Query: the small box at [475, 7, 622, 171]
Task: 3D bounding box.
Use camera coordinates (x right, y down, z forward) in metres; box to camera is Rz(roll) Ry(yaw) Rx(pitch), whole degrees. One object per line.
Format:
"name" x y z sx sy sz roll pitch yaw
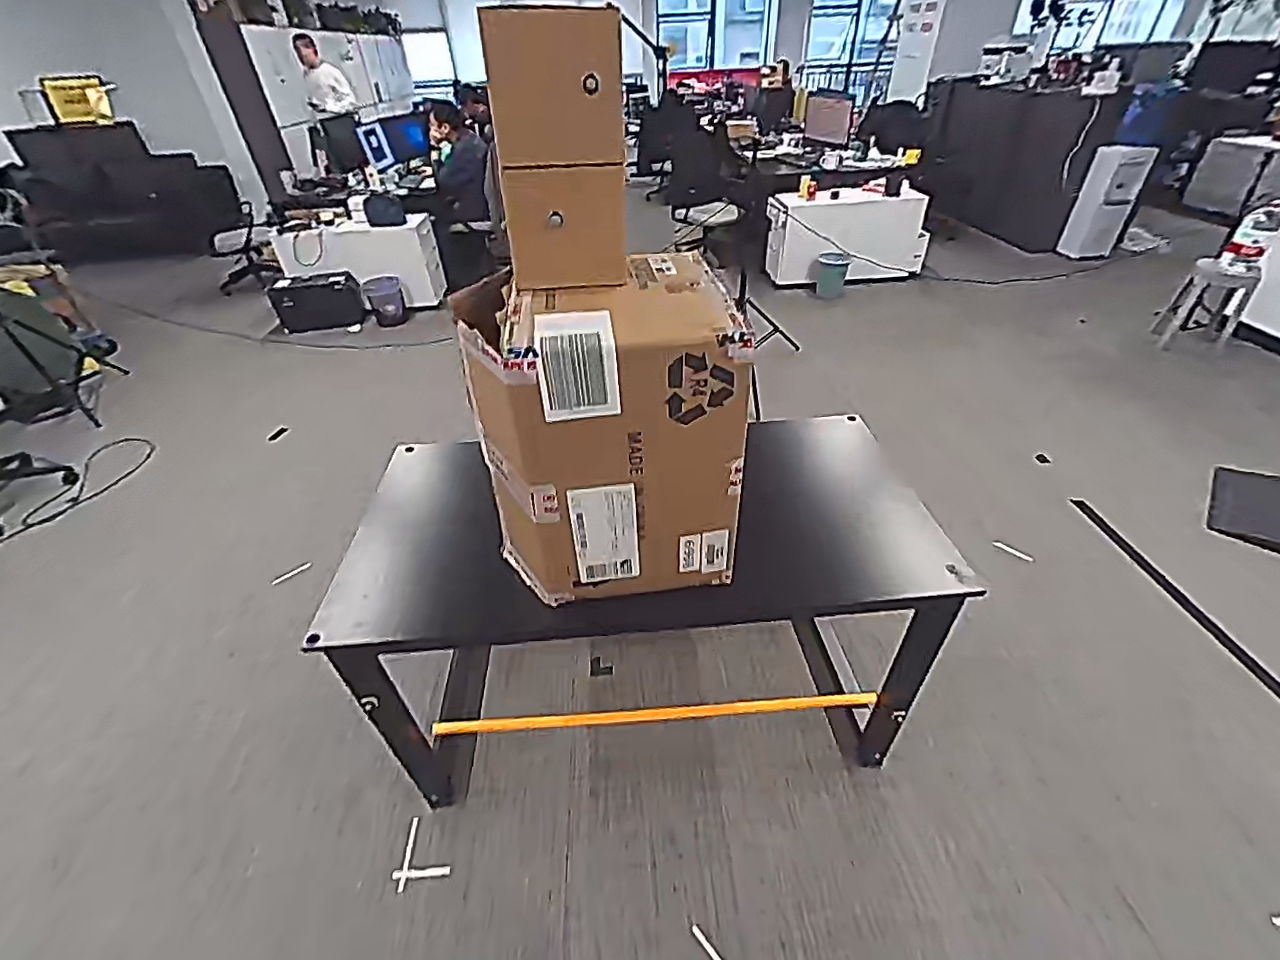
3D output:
"small box" -0.120 -0.539 0.755 0.179 0.176 0.168 -7 35 -7

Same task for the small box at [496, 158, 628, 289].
"small box" -0.117 -0.409 0.855 0.179 0.176 0.168 -6 36 -5
